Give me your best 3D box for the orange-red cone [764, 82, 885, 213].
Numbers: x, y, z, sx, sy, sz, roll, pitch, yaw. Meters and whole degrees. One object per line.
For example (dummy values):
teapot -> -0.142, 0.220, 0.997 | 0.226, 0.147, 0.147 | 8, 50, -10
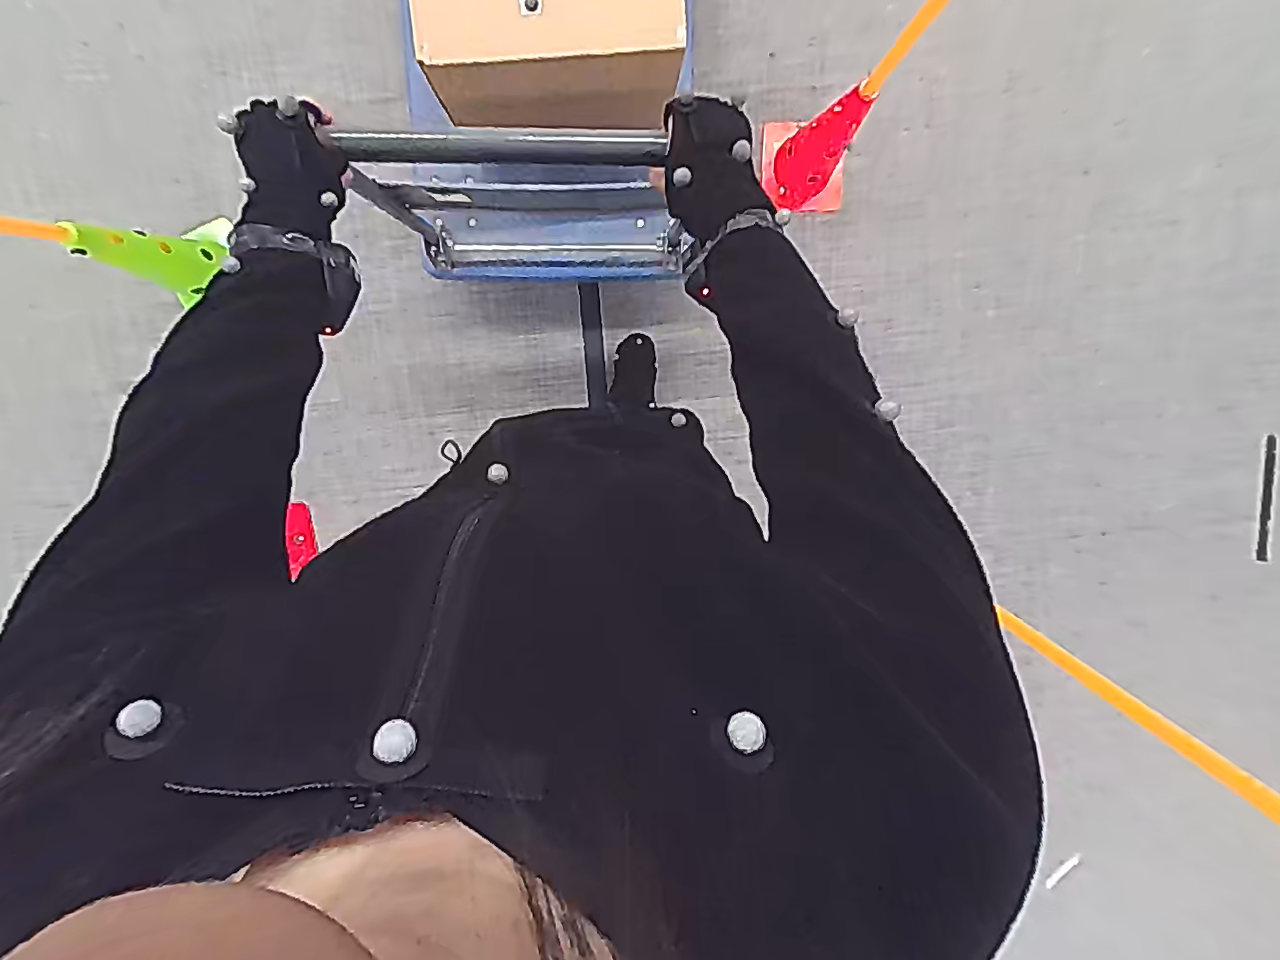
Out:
orange-red cone -> 0.413, -0.724, 1.139 | 0.199, 0.360, 0.198 | 1, 100, -4
